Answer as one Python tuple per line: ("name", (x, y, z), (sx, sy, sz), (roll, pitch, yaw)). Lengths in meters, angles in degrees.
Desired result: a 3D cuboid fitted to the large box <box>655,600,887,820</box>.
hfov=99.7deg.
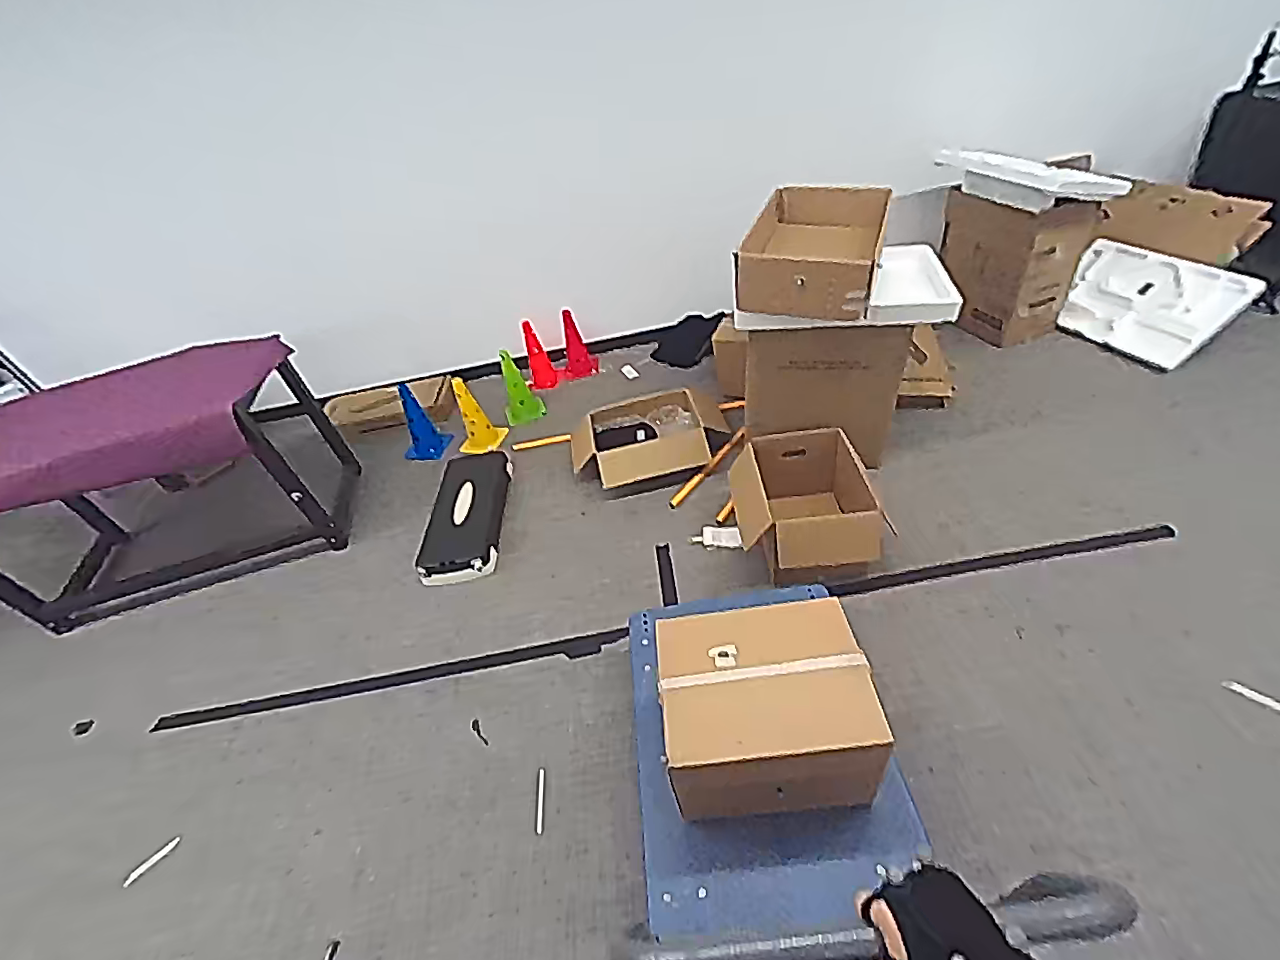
("large box", (0.266, 0.506, 1.186), (0.408, 0.320, 0.320), (-10, 40, 4))
